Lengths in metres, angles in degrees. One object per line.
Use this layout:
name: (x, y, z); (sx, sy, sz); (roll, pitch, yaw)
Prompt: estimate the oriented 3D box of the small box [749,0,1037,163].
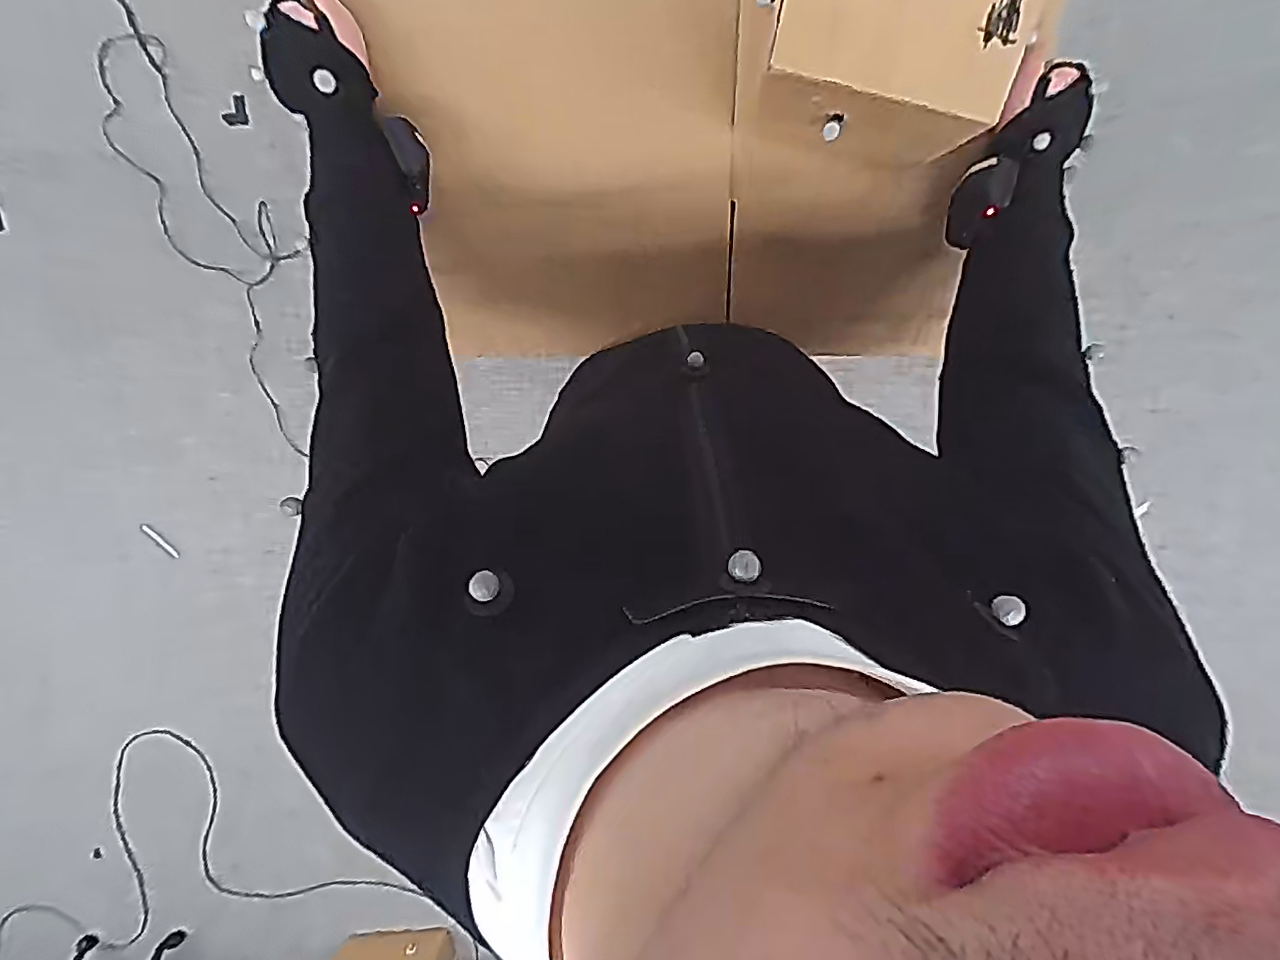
small box: (0.199, -0.385, 0.446); (0.179, 0.176, 0.168); (13, 109, 0)
